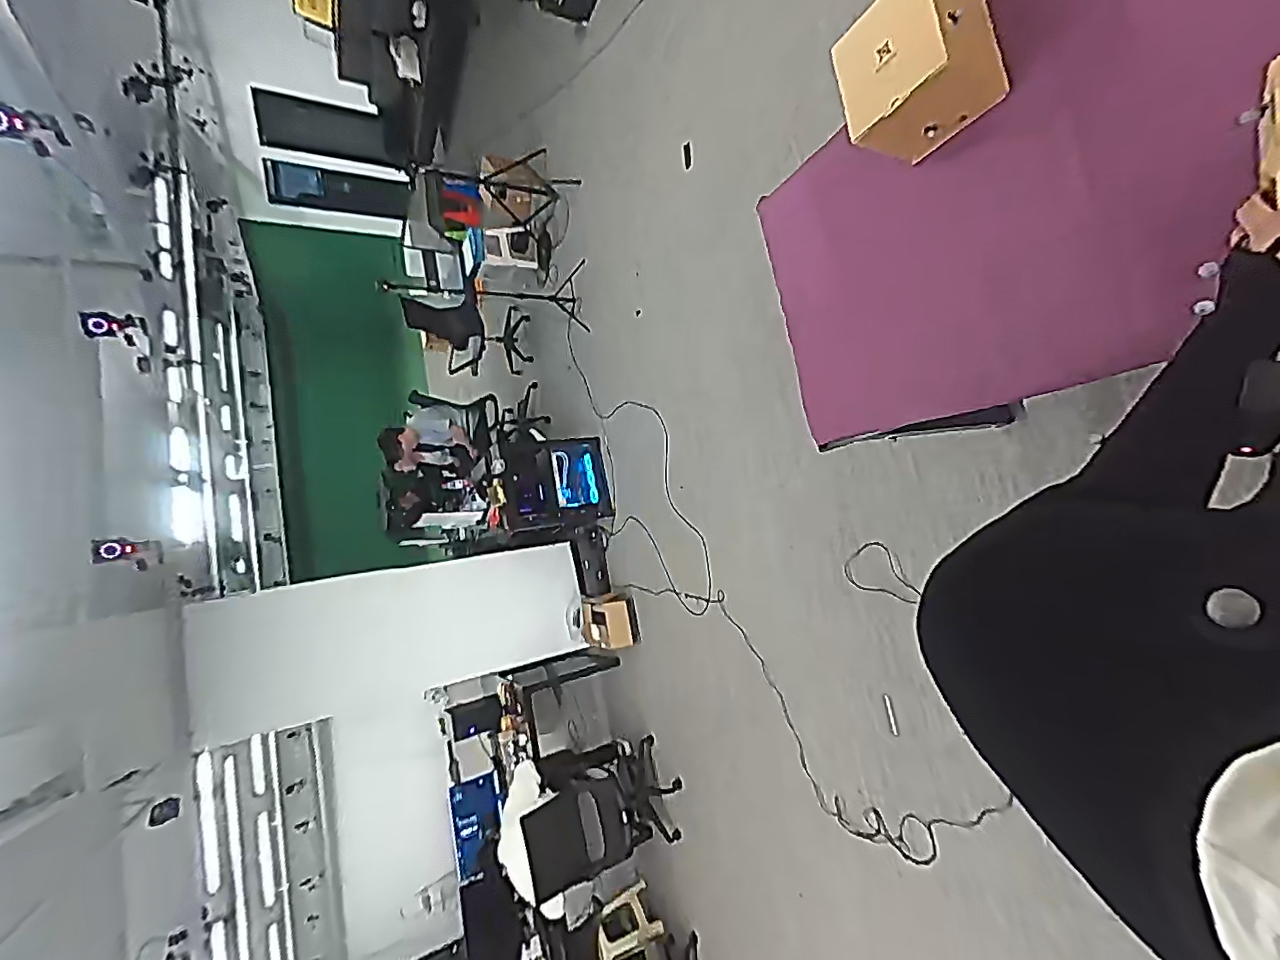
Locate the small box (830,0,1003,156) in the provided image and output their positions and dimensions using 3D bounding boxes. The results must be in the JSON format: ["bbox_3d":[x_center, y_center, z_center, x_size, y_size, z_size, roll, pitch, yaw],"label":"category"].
[{"bbox_3d":[0.439,-0.660,0.864,0.168,0.176,0.179,-20,78,59],"label":"small box"}]
